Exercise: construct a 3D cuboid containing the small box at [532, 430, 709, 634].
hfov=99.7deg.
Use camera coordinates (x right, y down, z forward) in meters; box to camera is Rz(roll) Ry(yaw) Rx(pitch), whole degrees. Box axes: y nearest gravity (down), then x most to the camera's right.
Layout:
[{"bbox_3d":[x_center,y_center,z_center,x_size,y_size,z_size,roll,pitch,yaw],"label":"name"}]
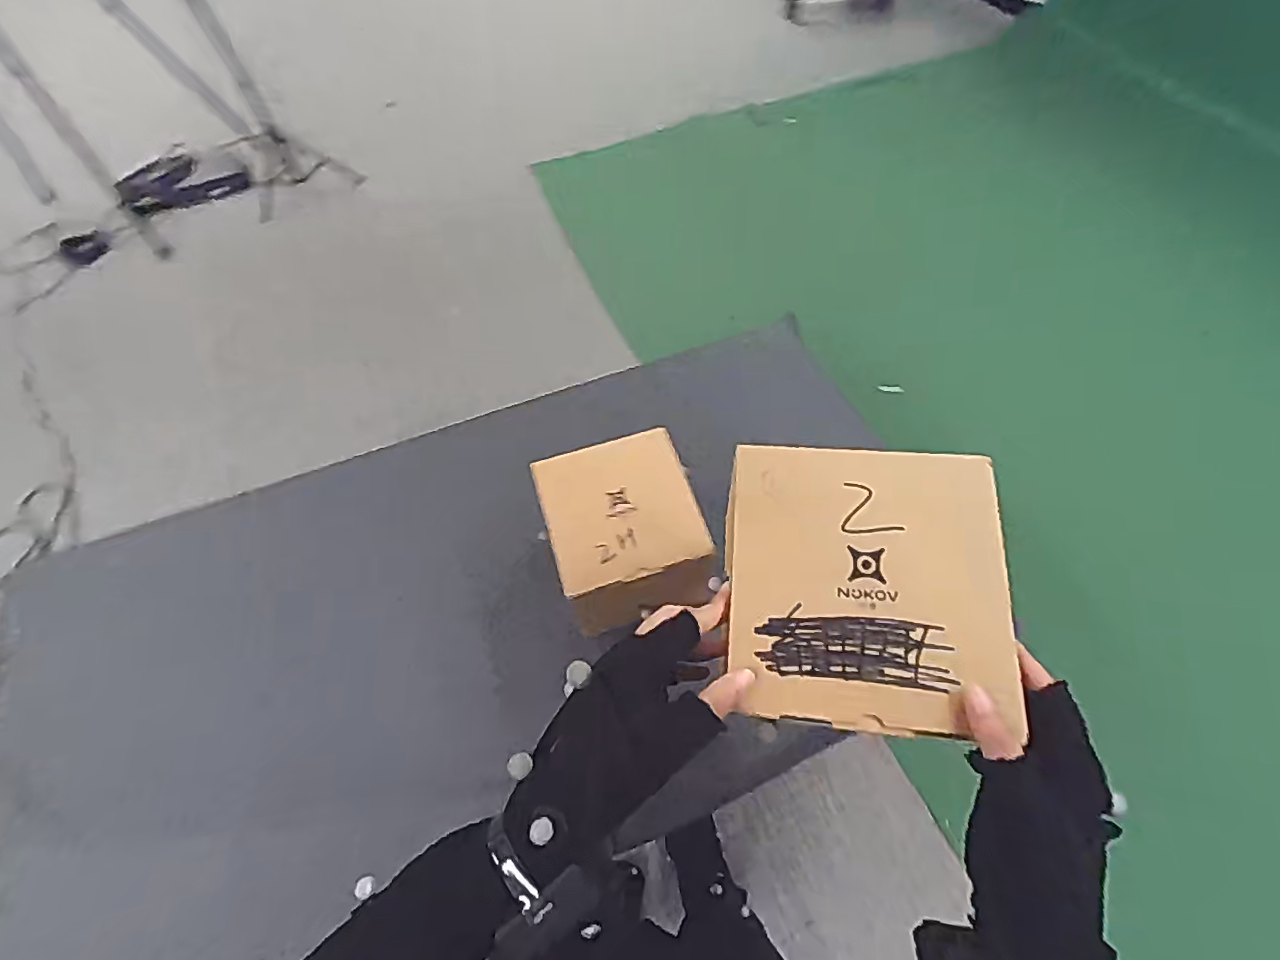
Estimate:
[{"bbox_3d":[-0.027,0.070,0.680,0.168,0.176,0.179,-16,61,-8],"label":"small box"}]
